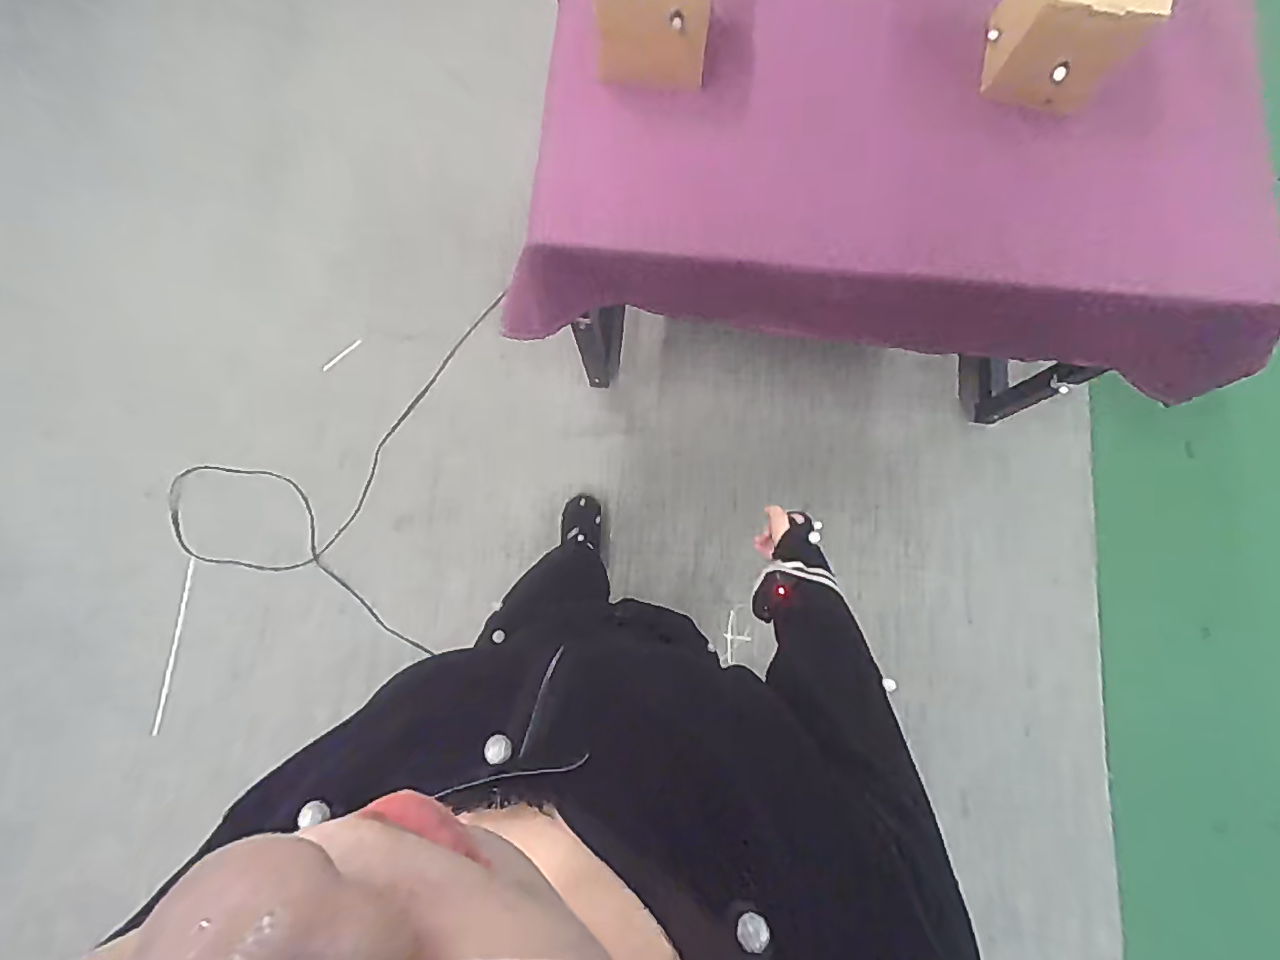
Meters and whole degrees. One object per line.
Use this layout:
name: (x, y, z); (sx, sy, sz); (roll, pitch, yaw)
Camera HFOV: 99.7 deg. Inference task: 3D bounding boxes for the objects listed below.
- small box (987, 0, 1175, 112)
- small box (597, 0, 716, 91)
small box: (0.675, -0.718, 0.839); (0.168, 0.176, 0.179); (13, 81, 3)
small box: (0.033, -0.764, 0.862); (0.179, 0.176, 0.168); (7, 80, 2)
